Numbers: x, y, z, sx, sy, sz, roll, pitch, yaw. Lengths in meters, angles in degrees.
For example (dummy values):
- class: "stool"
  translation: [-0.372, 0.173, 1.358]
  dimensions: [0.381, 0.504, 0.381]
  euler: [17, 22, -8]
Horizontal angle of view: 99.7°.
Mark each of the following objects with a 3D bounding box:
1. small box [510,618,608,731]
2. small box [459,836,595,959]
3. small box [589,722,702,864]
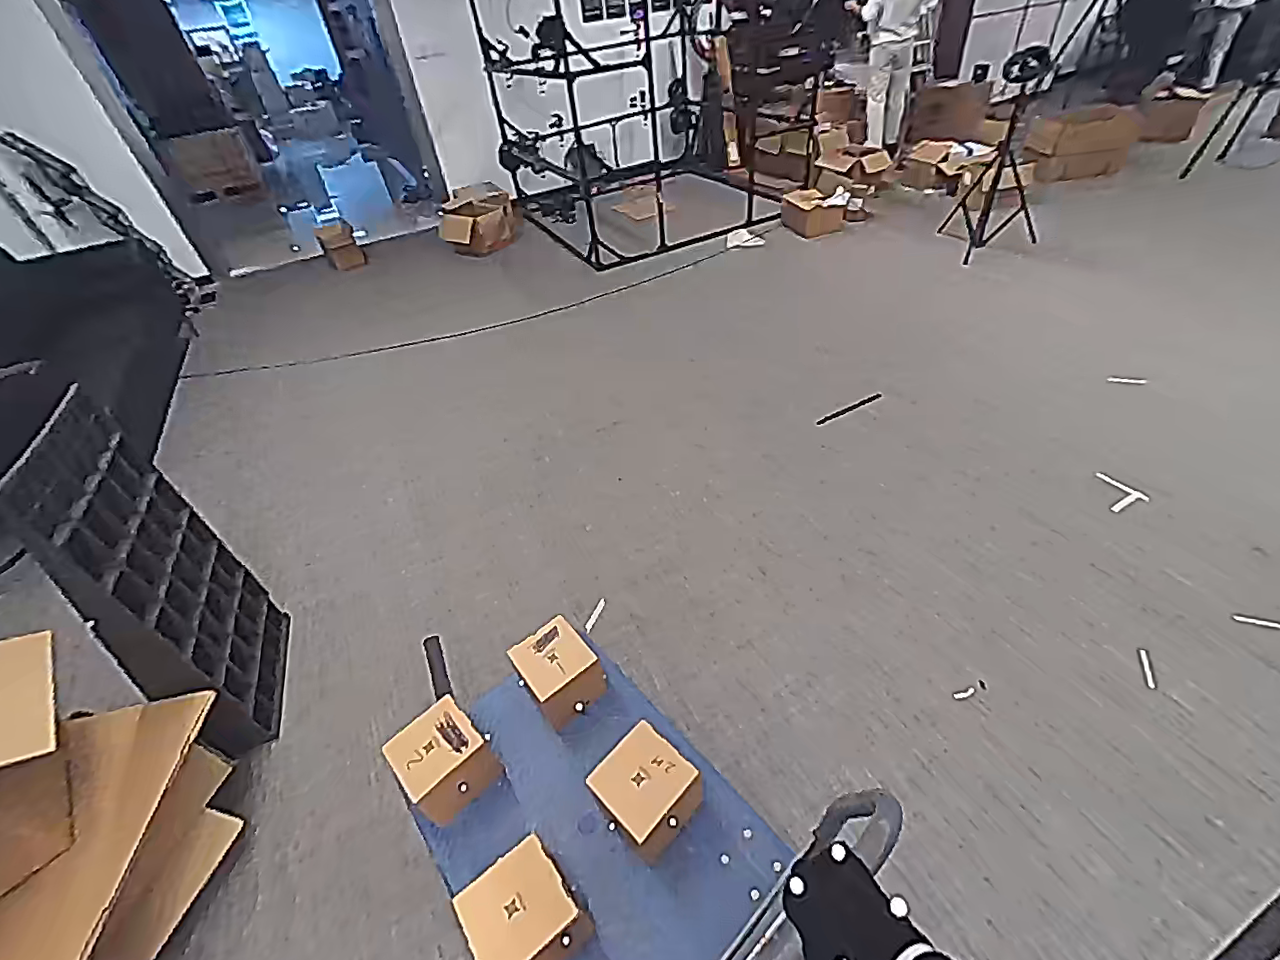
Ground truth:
- class: "small box"
  translation: [-0.203, 0.497, 1.380]
  dimensions: [0.168, 0.176, 0.179]
  euler: [-33, 48, -24]
- class: "small box"
  translation: [-0.204, 0.827, 1.012]
  dimensions: [0.179, 0.176, 0.168]
  euler: [-30, 45, -25]
- class: "small box"
  translation: [0.021, 0.668, 1.150]
  dimensions: [0.168, 0.176, 0.179]
  euler: [30, 55, 35]
